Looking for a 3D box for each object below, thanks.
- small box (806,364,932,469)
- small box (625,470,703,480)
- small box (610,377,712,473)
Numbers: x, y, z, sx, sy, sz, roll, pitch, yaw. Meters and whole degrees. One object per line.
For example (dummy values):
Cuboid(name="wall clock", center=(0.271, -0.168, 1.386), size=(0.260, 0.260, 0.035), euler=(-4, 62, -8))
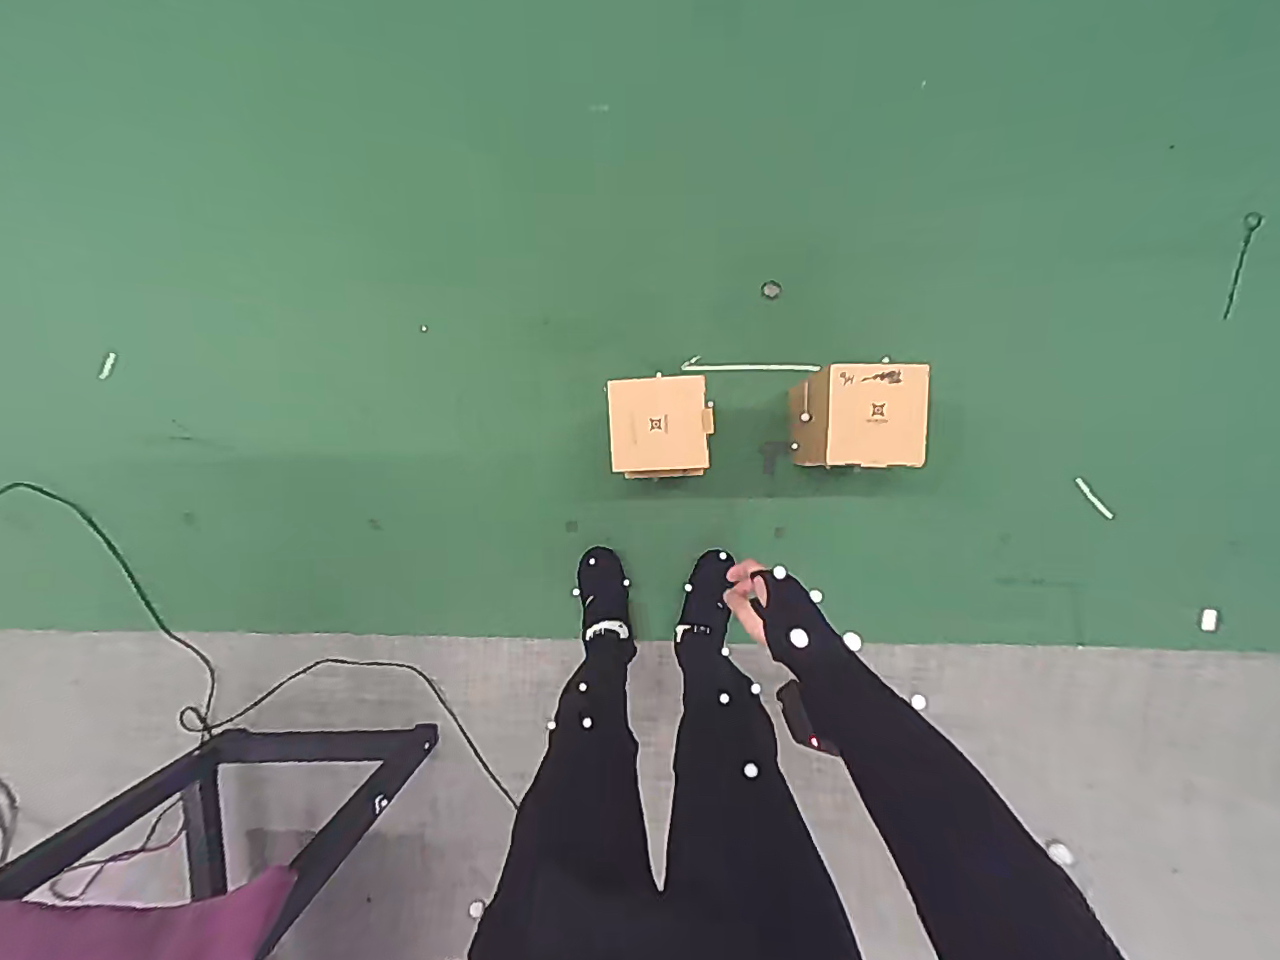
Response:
Cuboid(name="small box", center=(0.410, -0.115, 0.996), size=(0.168, 0.176, 0.179), euler=(2, 95, 3))
Cuboid(name="small box", center=(0.055, -0.095, 1.191), size=(0.168, 0.176, 0.179), euler=(-3, 92, 5))
Cuboid(name="small box", center=(0.042, -0.102, 1.029), size=(0.179, 0.176, 0.168), euler=(-3, 92, 5))
